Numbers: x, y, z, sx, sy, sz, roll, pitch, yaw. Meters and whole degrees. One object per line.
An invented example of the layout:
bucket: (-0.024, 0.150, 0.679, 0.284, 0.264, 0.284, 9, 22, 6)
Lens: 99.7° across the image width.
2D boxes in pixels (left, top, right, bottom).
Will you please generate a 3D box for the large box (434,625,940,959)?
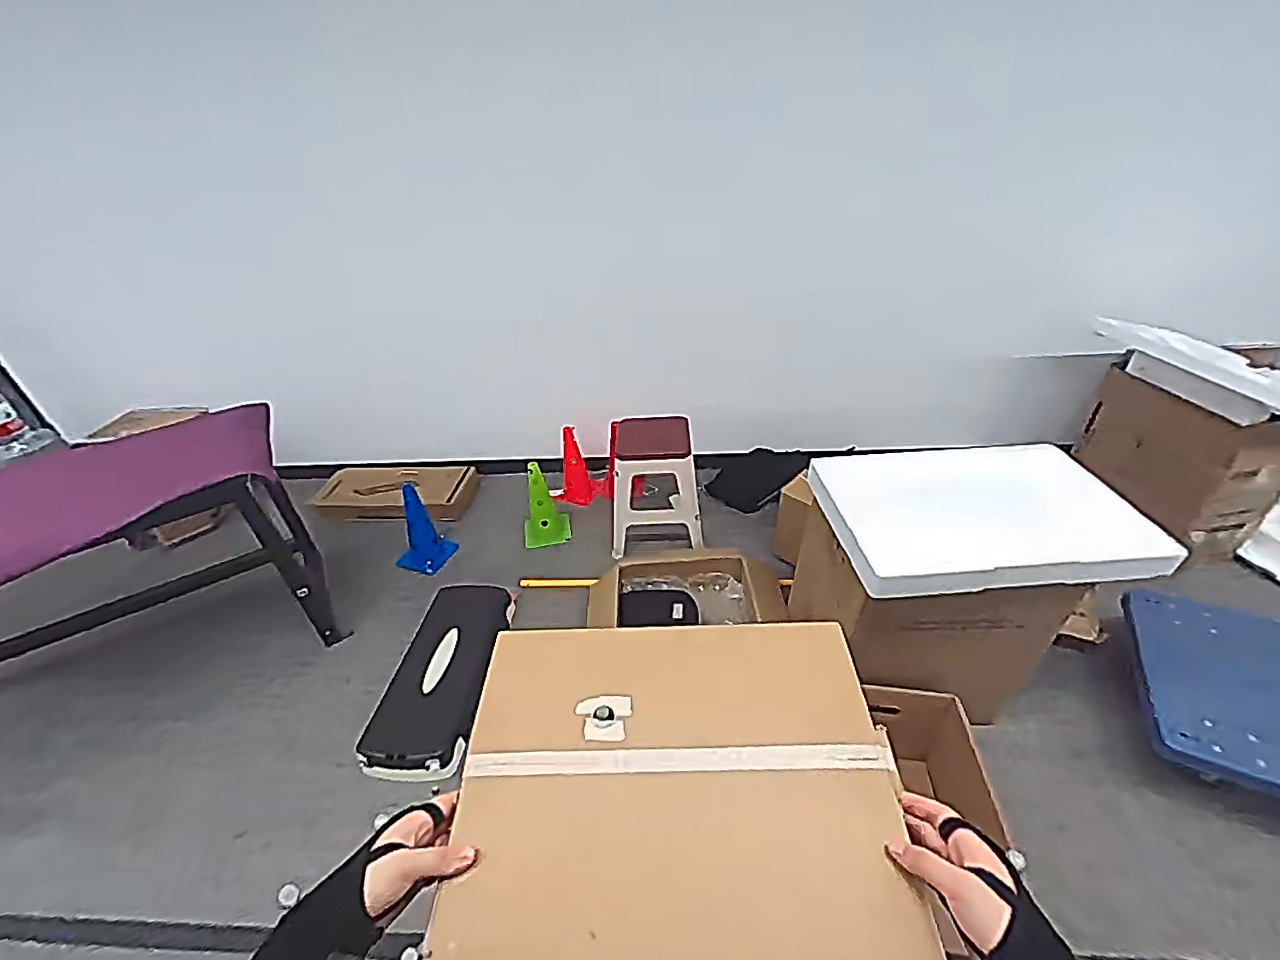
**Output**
large box: (0.046, 0.397, 0.625, 0.408, 0.320, 0.320, -4, 38, 4)
